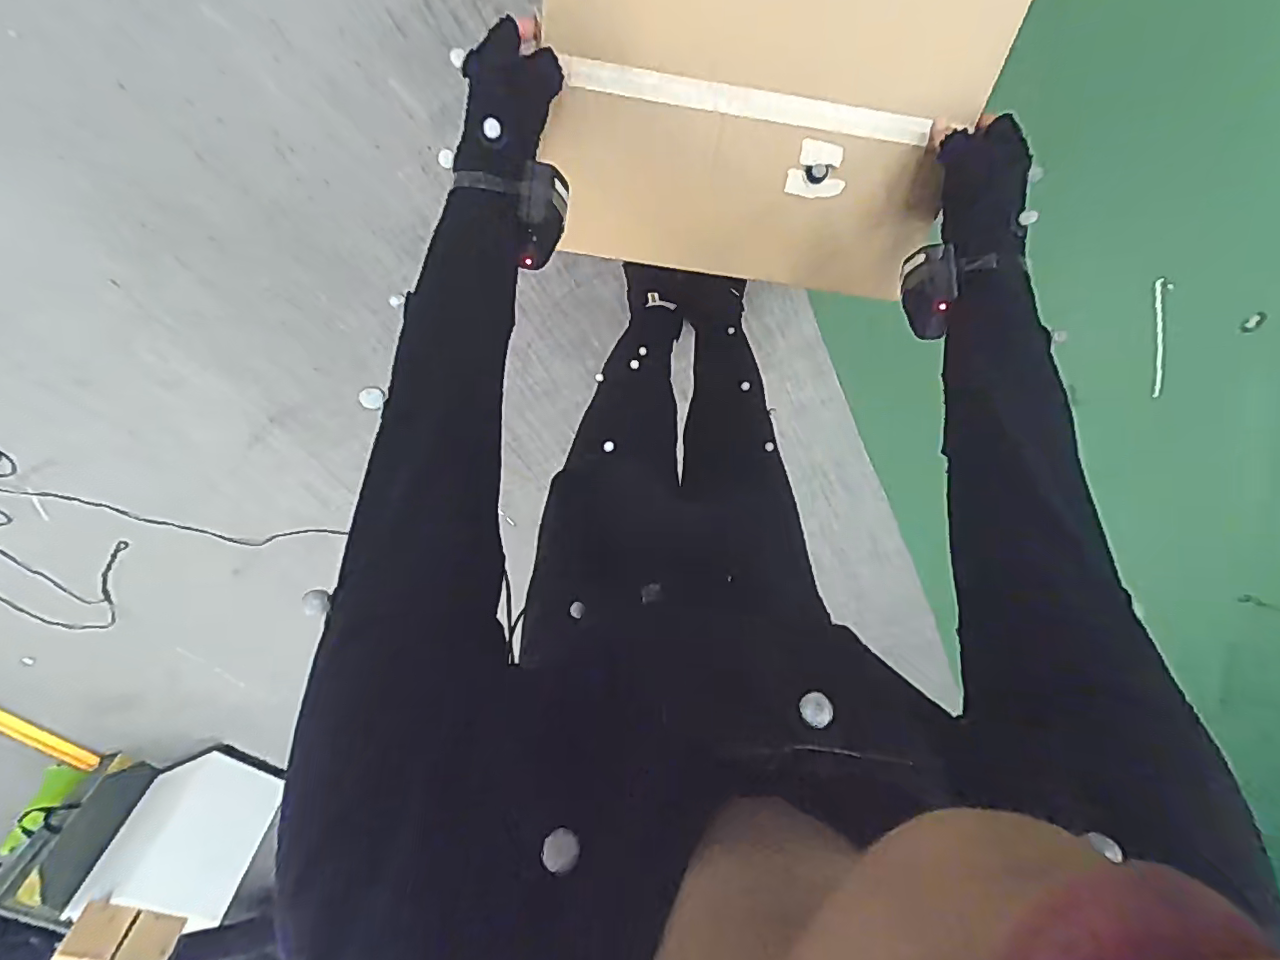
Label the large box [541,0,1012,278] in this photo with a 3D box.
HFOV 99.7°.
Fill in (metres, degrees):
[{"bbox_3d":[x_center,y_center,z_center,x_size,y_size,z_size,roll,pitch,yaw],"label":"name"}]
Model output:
[{"bbox_3d":[0.105,-0.453,0.612,0.408,0.320,0.320,5,129,-6],"label":"large box"}]
